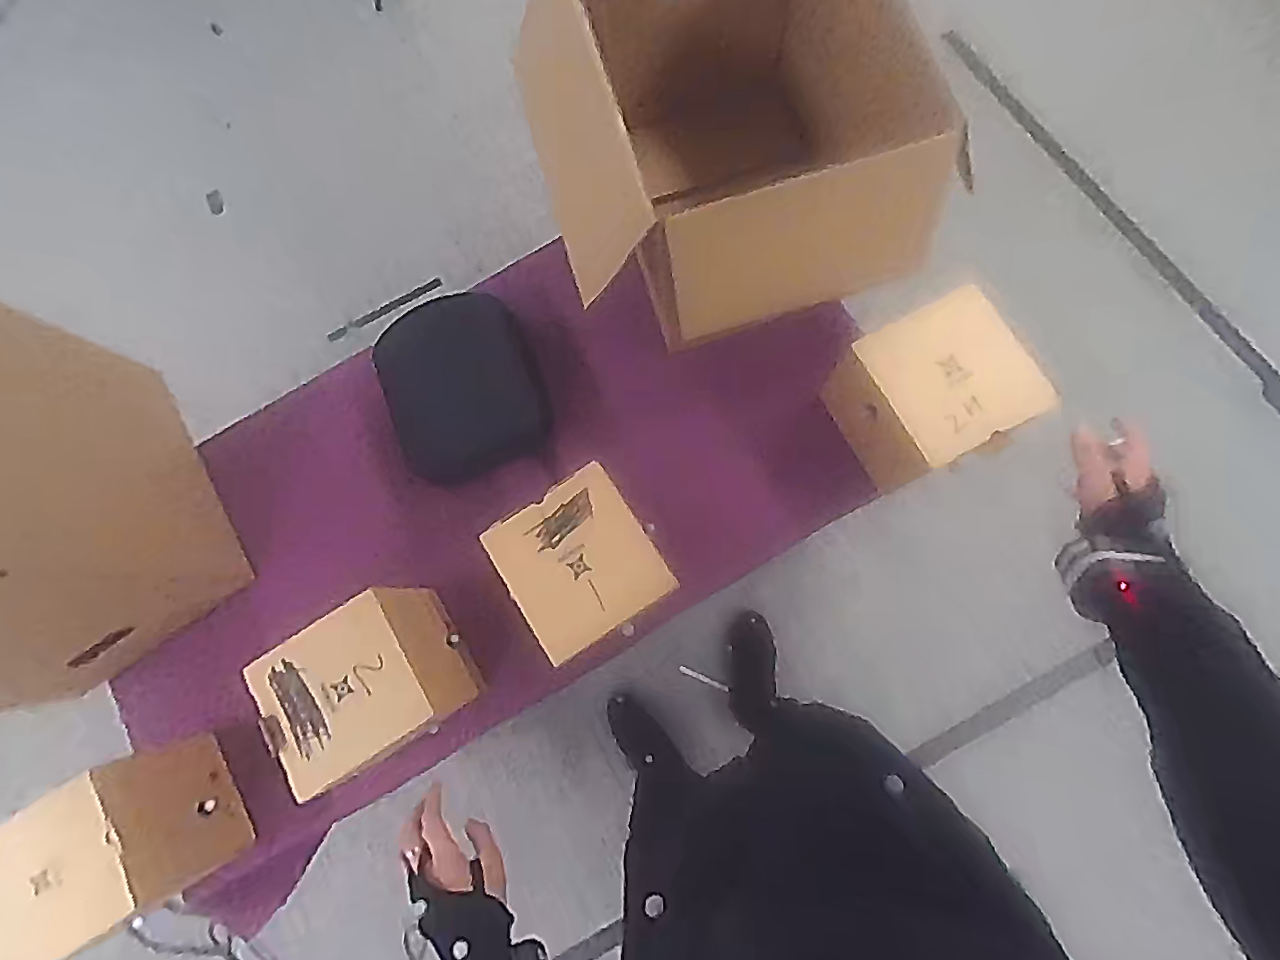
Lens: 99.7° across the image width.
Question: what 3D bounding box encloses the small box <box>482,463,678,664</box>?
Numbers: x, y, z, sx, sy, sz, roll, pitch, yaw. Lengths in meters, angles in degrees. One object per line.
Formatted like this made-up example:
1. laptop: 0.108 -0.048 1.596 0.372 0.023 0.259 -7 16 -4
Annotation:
1. small box: -0.066 0.108 0.691 0.168 0.176 0.179 -34 78 -2

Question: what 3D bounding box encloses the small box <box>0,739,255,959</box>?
1. small box: -0.641 0.459 0.674 0.179 0.176 0.168 -33 77 -3

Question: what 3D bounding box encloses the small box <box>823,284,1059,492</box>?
1. small box: 0.360 -0.105 0.691 0.168 0.176 0.179 -27 77 0
